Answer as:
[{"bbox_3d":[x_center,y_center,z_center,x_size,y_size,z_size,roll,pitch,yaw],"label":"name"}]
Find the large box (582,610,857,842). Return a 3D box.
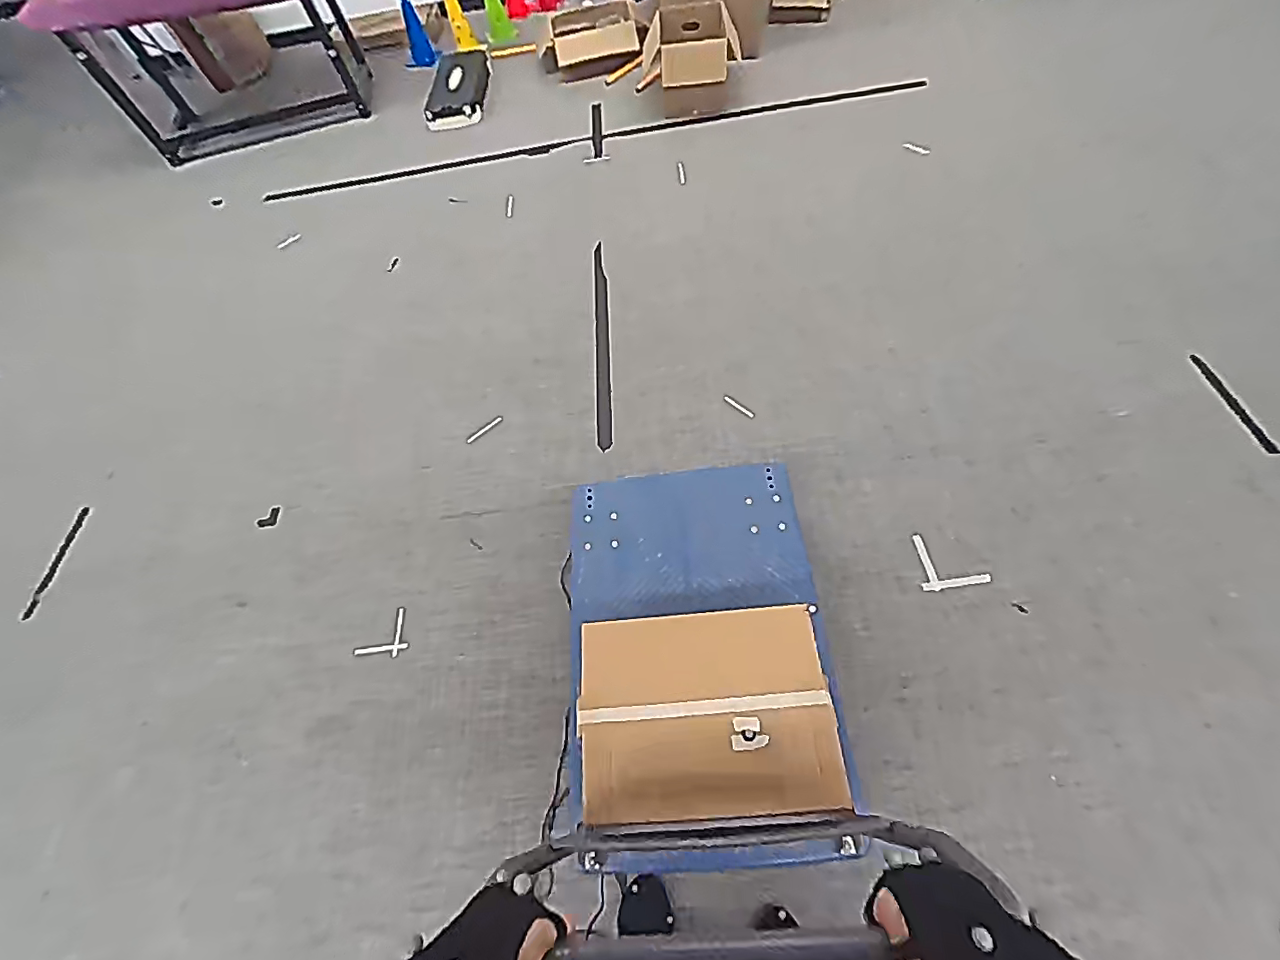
[{"bbox_3d":[0.120,0.454,0.988,0.408,0.320,0.320,-6,59,3],"label":"large box"}]
